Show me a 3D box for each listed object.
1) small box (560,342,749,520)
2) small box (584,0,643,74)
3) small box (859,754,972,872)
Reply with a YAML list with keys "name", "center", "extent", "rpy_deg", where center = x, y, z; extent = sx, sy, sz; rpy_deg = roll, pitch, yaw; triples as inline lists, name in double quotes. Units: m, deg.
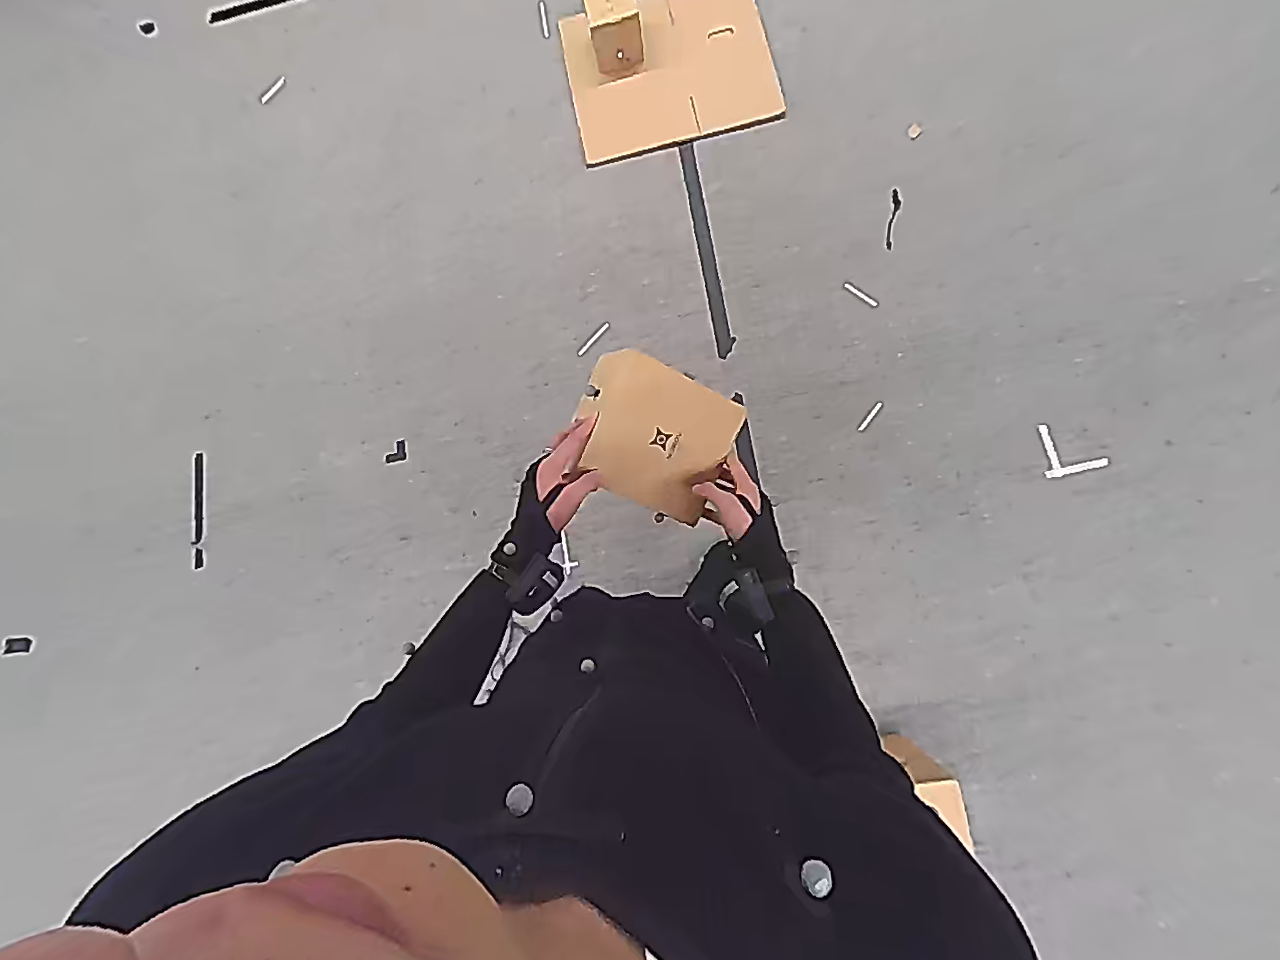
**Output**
- name: "small box"
  center: [0.007, -0.066, 0.727]
  extent: [0.179, 0.176, 0.168]
  rpy_deg: [24, 93, -20]
- name: "small box"
  center: [-0.091, -1.544, 1.843]
  extent: [0.168, 0.176, 0.179]
  rpy_deg: [-13, 80, 5]
- name: "small box"
  center: [0.624, 0.758, 1.245]
  extent: [0.168, 0.176, 0.179]
  rpy_deg: [-9, 79, 4]
